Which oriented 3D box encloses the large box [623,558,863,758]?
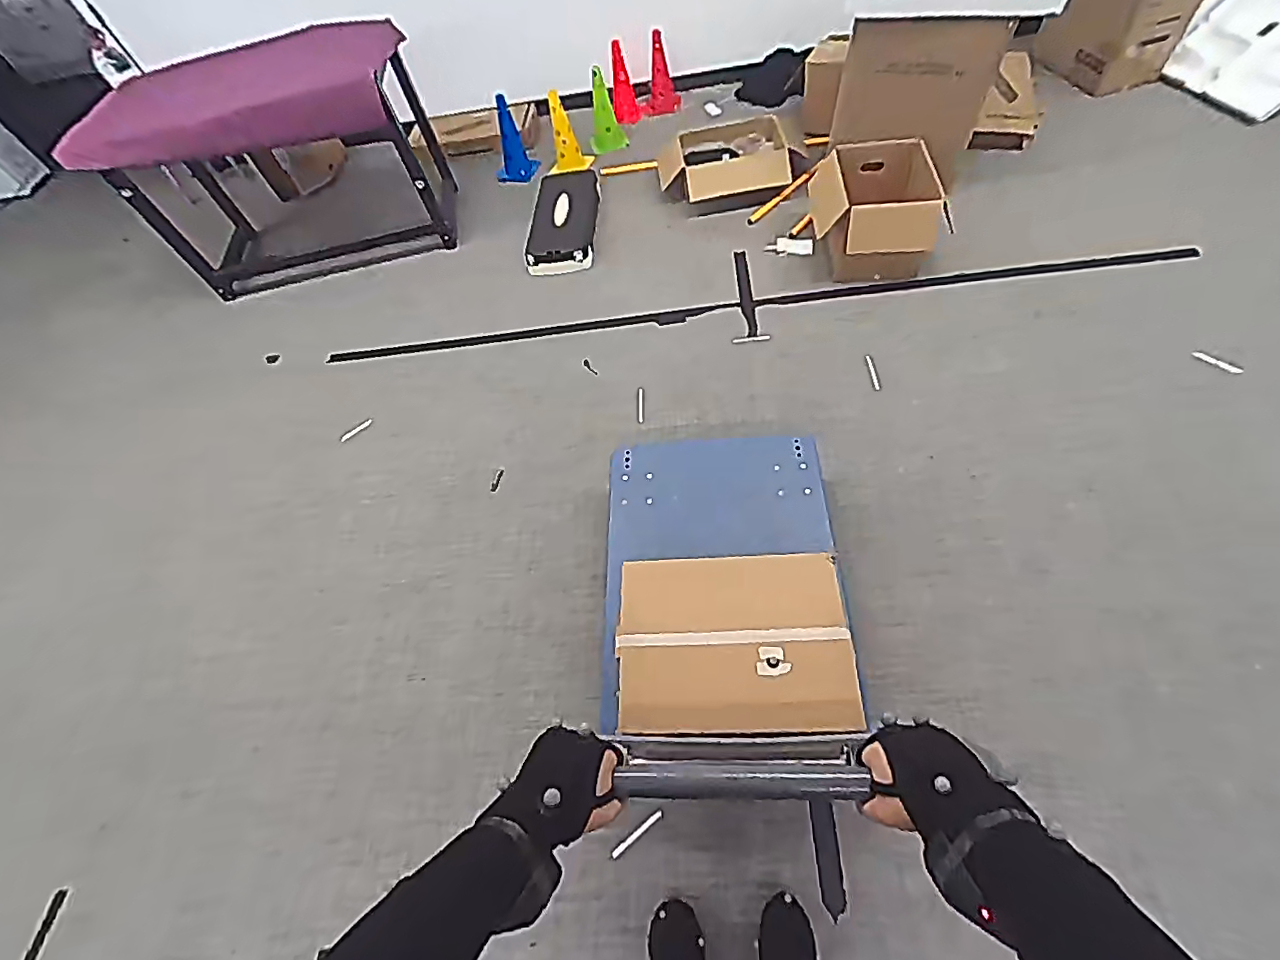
[{"bbox_3d":[0.183,0.373,1.103,0.408,0.320,0.320,-4,58,6],"label":"large box"}]
